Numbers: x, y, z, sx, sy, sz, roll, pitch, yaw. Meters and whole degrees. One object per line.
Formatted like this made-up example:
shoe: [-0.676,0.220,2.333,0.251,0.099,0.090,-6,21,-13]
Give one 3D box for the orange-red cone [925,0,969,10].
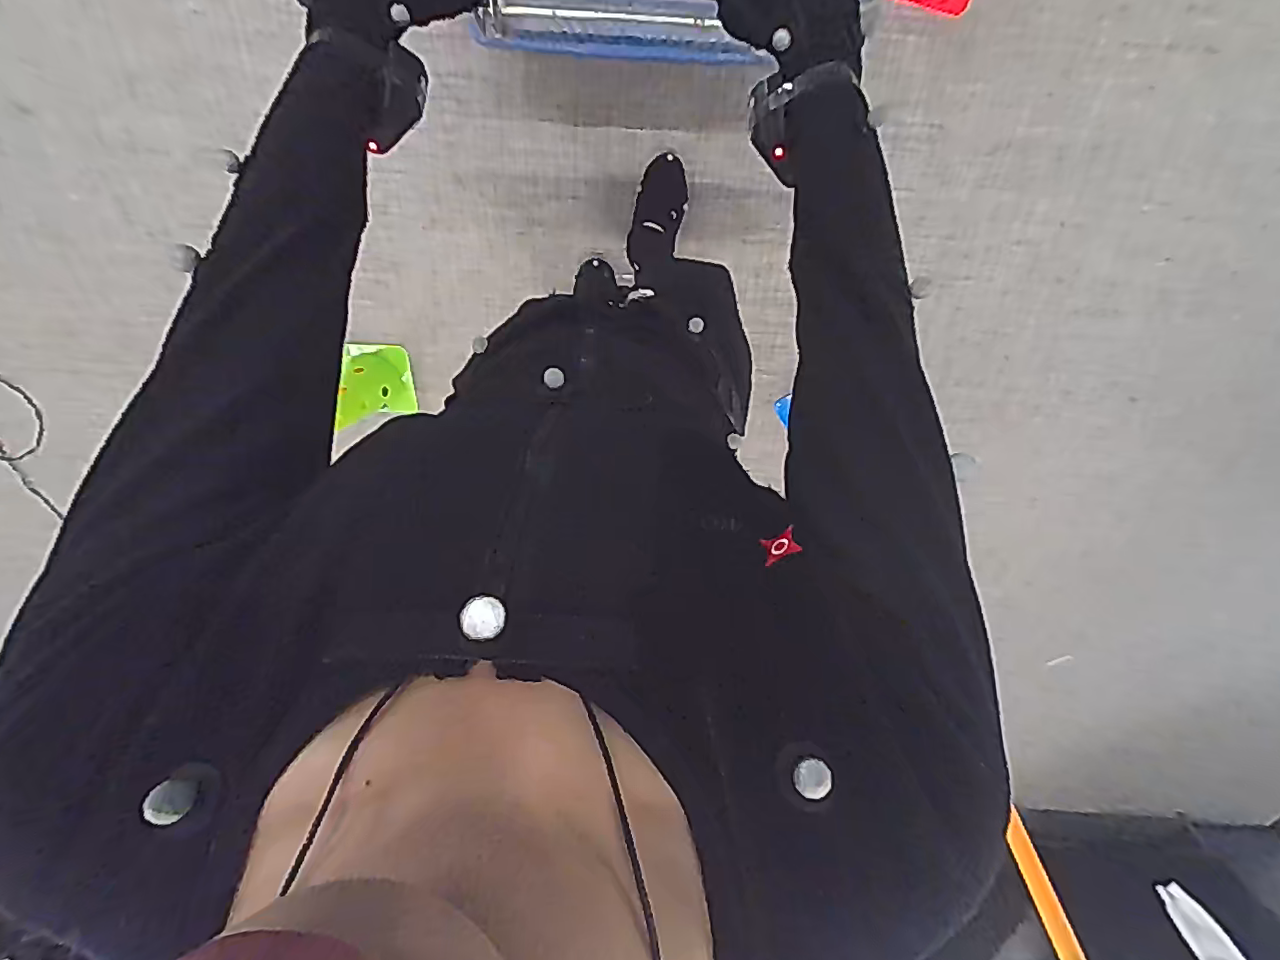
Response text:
orange-red cone: [0.565,-0.929,0.859,0.198,0.360,0.199,13,122,-5]
